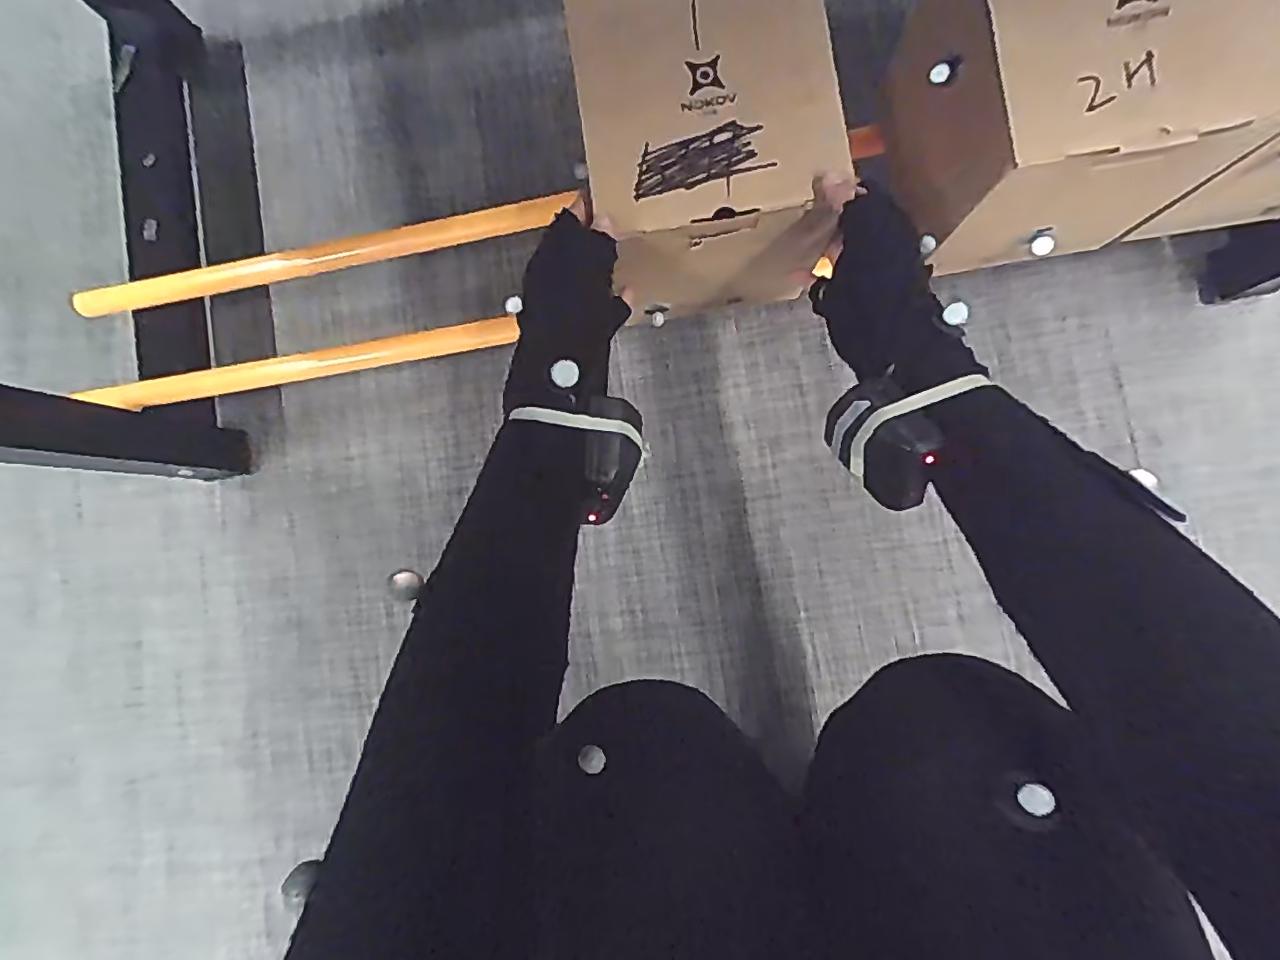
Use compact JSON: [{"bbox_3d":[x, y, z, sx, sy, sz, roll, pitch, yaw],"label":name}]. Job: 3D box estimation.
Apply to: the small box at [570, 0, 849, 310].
[{"bbox_3d":[0.050,-0.251,0.433,0.168,0.176,0.179,-8,85,4],"label":"small box"}]
